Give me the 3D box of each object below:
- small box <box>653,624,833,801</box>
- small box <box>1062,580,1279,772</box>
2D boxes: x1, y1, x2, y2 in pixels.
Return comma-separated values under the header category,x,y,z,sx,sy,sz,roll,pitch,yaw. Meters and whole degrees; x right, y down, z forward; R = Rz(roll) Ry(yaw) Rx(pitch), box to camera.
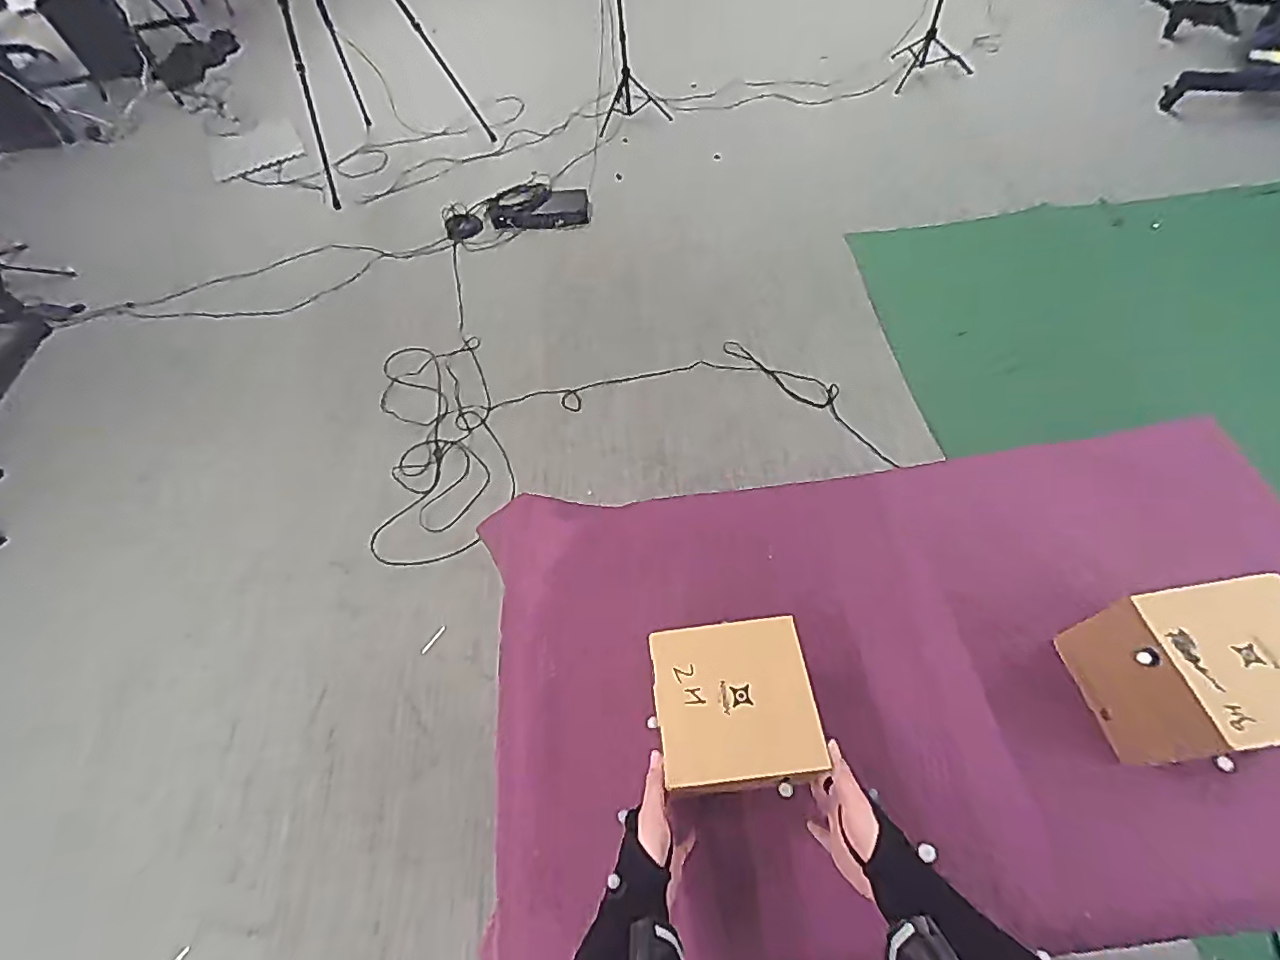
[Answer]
category,x,y,z,sx,sy,sz,roll,pitch,yaw
small box,0.115,0.292,0.670,0.179,0.176,0.168,-8,56,2
small box,0.666,0.237,0.640,0.179,0.176,0.168,-9,56,1
